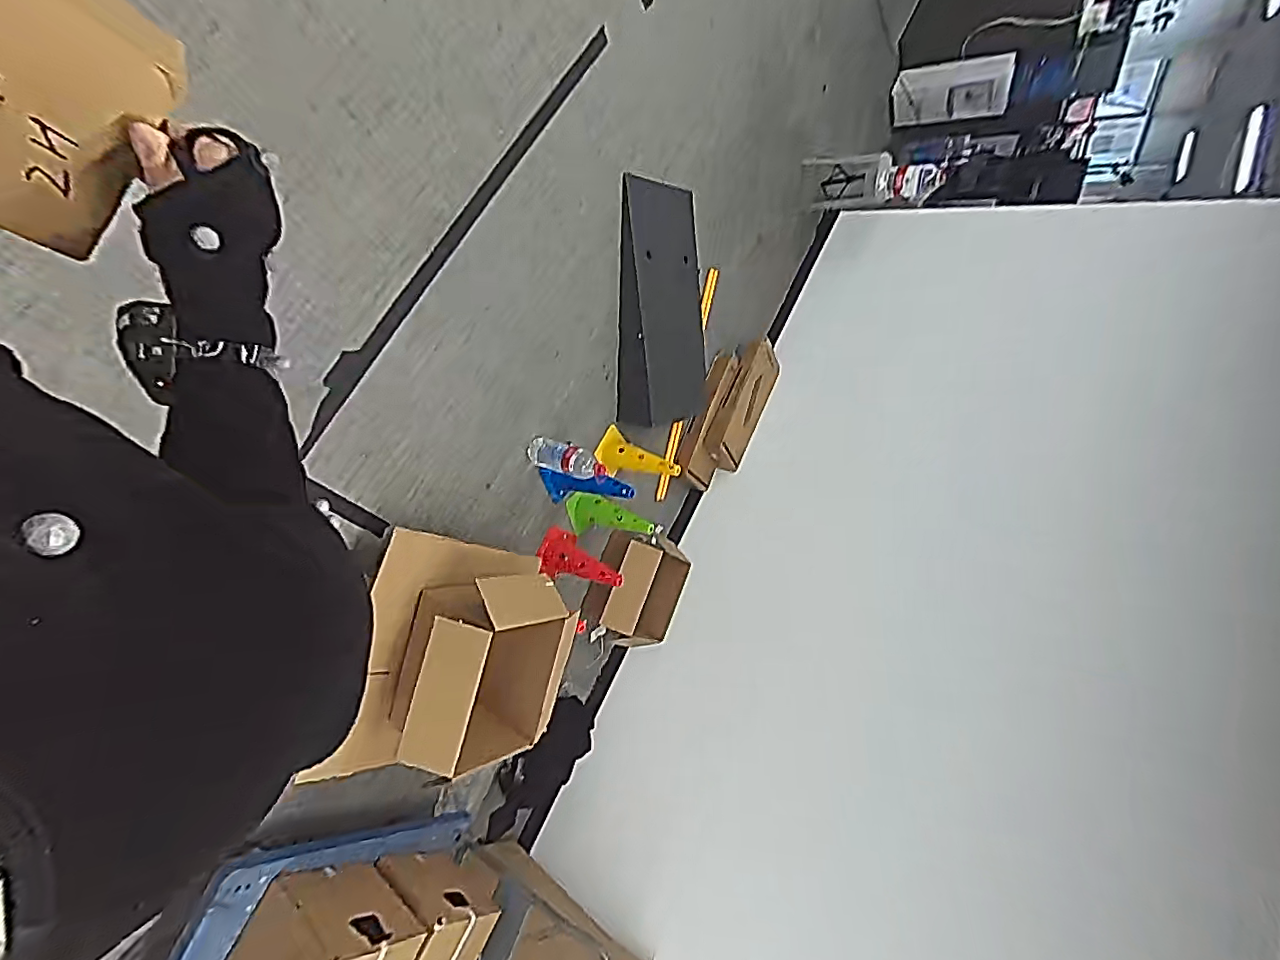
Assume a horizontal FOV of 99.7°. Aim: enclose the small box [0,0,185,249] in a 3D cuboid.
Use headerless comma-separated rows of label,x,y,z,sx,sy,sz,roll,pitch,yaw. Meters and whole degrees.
small box,-0.469,-0.311,0.385,0.168,0.176,0.179,-47,145,14
